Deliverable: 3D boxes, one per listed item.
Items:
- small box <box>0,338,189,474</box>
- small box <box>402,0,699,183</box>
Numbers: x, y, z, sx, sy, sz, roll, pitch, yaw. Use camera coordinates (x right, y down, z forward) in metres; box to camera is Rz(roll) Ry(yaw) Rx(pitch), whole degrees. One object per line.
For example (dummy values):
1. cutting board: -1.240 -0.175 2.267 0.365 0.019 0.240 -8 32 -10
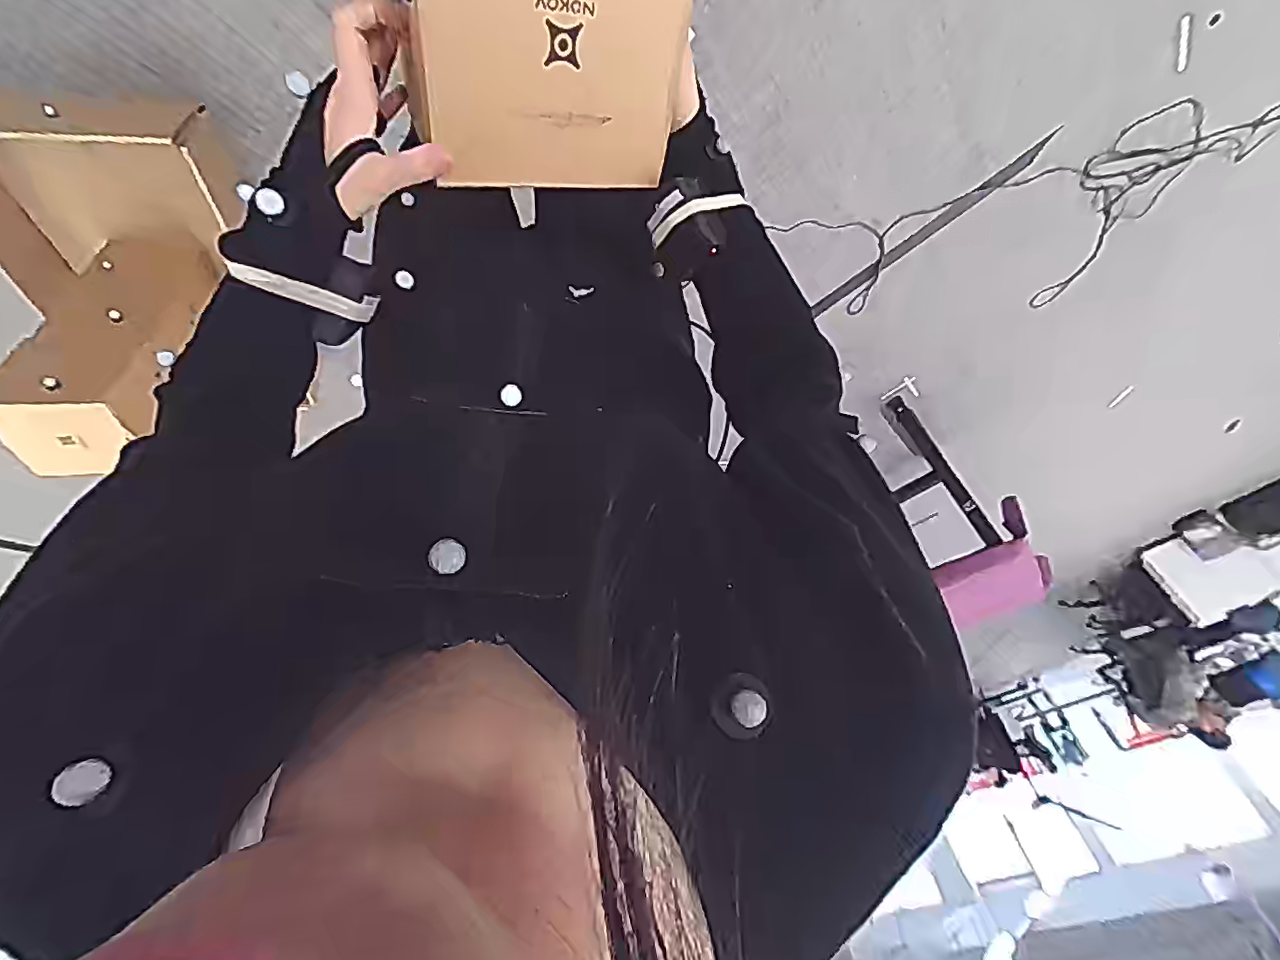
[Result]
1. small box: -0.934 -0.128 0.930 0.179 0.176 0.168 -3 141 -14
2. small box: -0.071 -0.331 0.371 0.168 0.176 0.179 -12 144 -21
